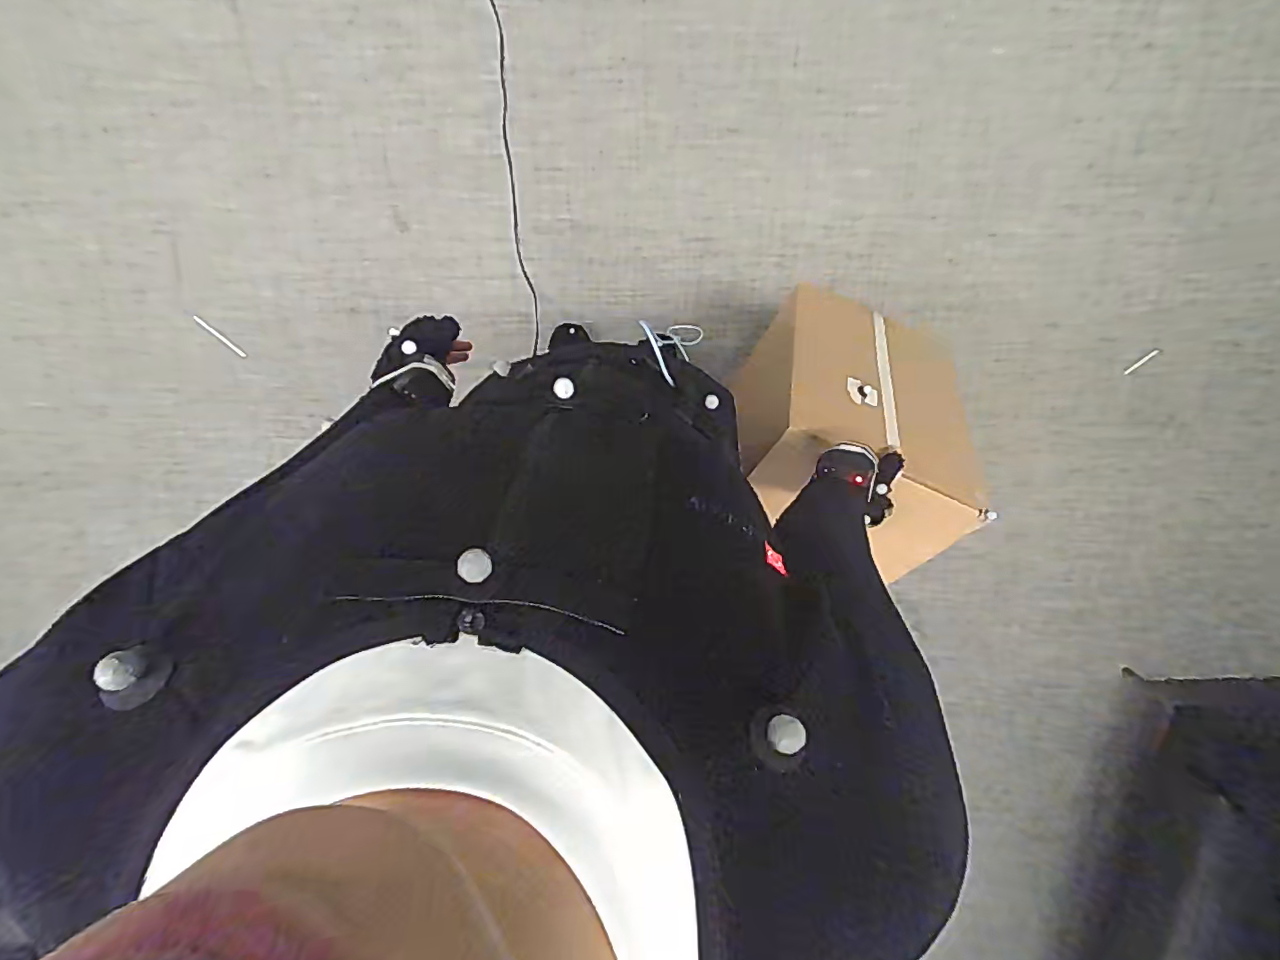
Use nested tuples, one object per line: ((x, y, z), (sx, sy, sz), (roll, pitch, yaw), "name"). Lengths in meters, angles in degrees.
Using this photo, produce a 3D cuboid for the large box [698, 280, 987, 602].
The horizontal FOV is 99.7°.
((0.323, -0.065, 0.952), (0.320, 0.408, 0.320), (22, 140, -7), "large box")
